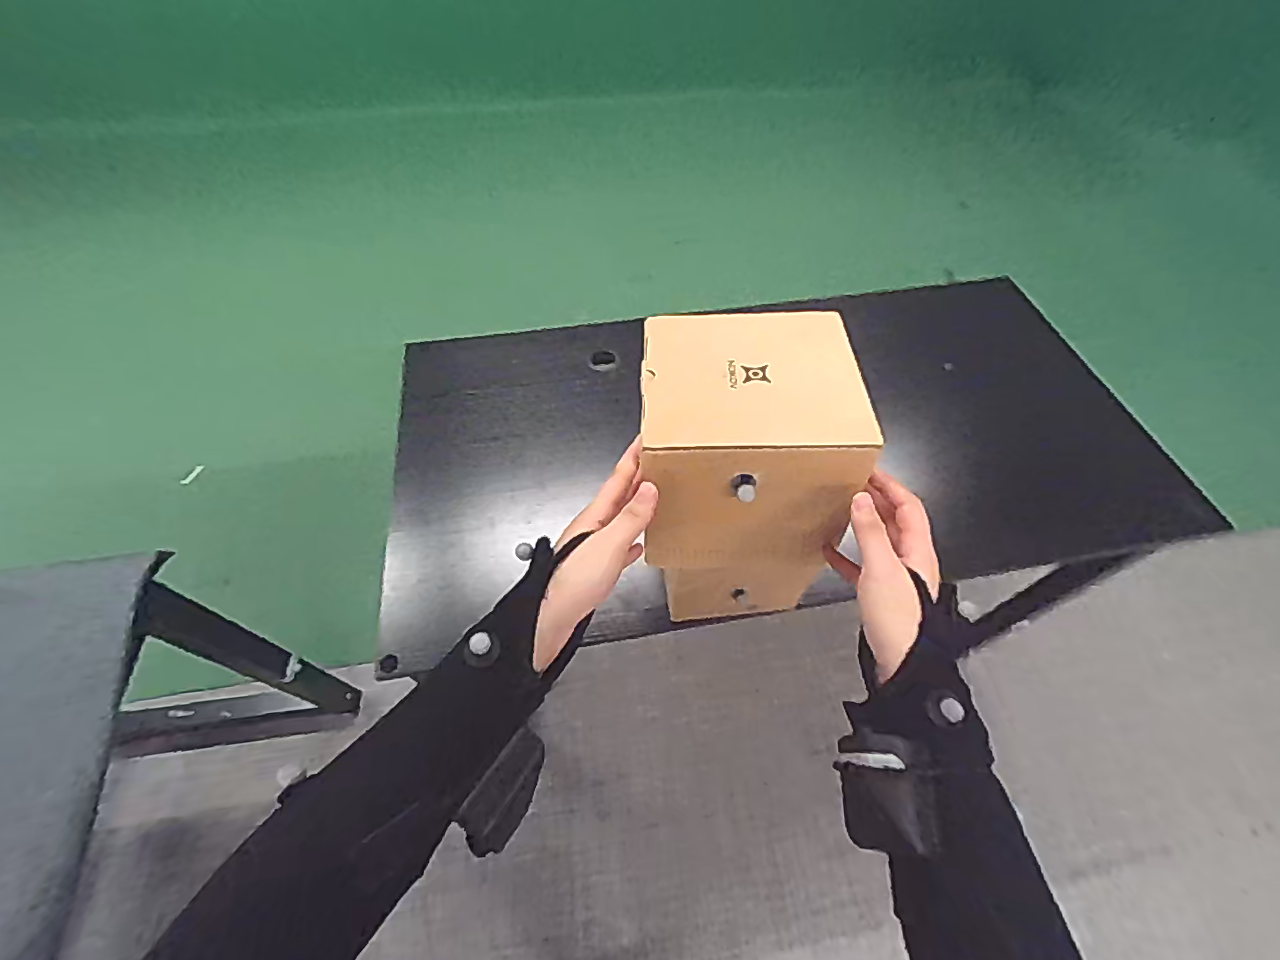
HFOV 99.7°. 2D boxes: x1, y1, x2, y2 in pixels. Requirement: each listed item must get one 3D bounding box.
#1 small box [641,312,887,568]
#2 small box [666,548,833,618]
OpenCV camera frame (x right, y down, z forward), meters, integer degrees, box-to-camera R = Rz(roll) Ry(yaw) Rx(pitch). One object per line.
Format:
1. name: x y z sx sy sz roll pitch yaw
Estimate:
1. small box: 0.093 -0.031 0.491 0.179 0.176 0.168 -2 51 3
2. small box: 0.119 0.066 0.685 0.168 0.176 0.179 -5 56 -4
